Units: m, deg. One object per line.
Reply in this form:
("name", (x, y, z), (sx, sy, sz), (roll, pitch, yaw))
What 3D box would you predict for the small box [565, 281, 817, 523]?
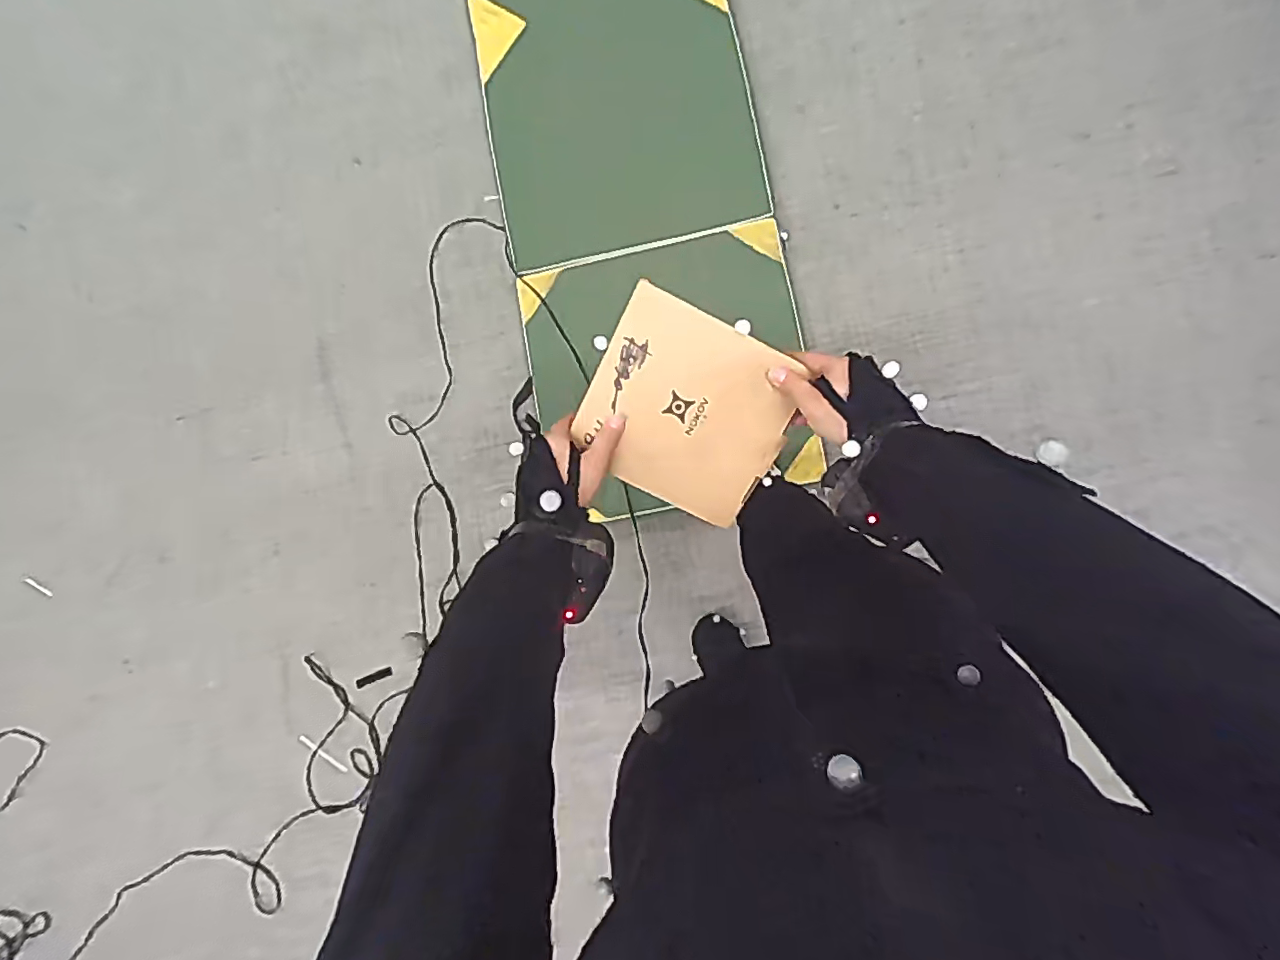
("small box", (0.047, -0.087, 0.560), (0.179, 0.176, 0.168), (27, 106, -5))
